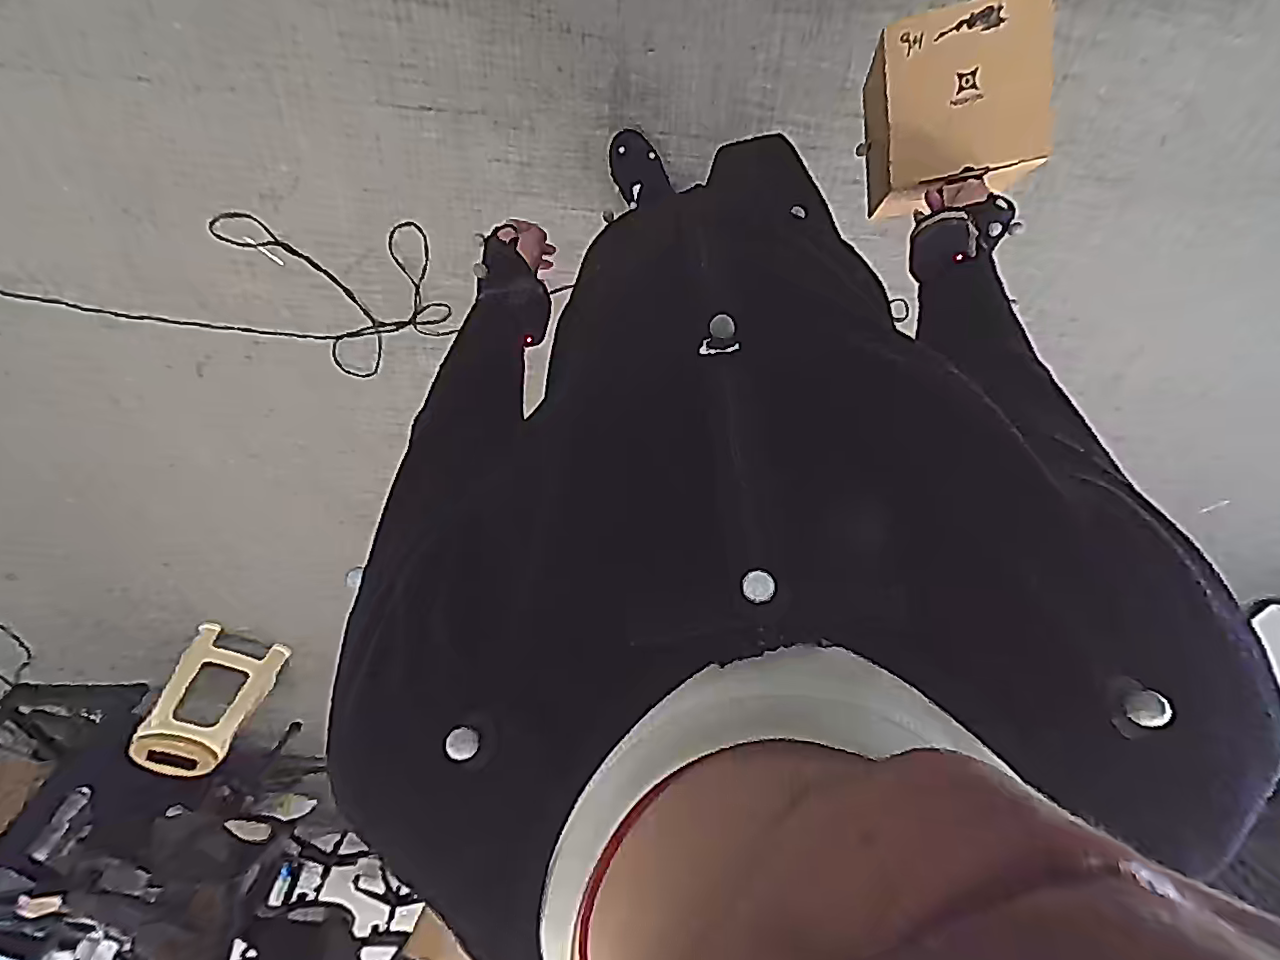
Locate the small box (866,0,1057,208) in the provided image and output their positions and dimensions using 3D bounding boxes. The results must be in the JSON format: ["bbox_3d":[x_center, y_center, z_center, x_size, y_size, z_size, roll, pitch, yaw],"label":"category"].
[{"bbox_3d":[0.385,-0.455,0.676,0.168,0.176,0.179,-5,104,15],"label":"small box"}]
